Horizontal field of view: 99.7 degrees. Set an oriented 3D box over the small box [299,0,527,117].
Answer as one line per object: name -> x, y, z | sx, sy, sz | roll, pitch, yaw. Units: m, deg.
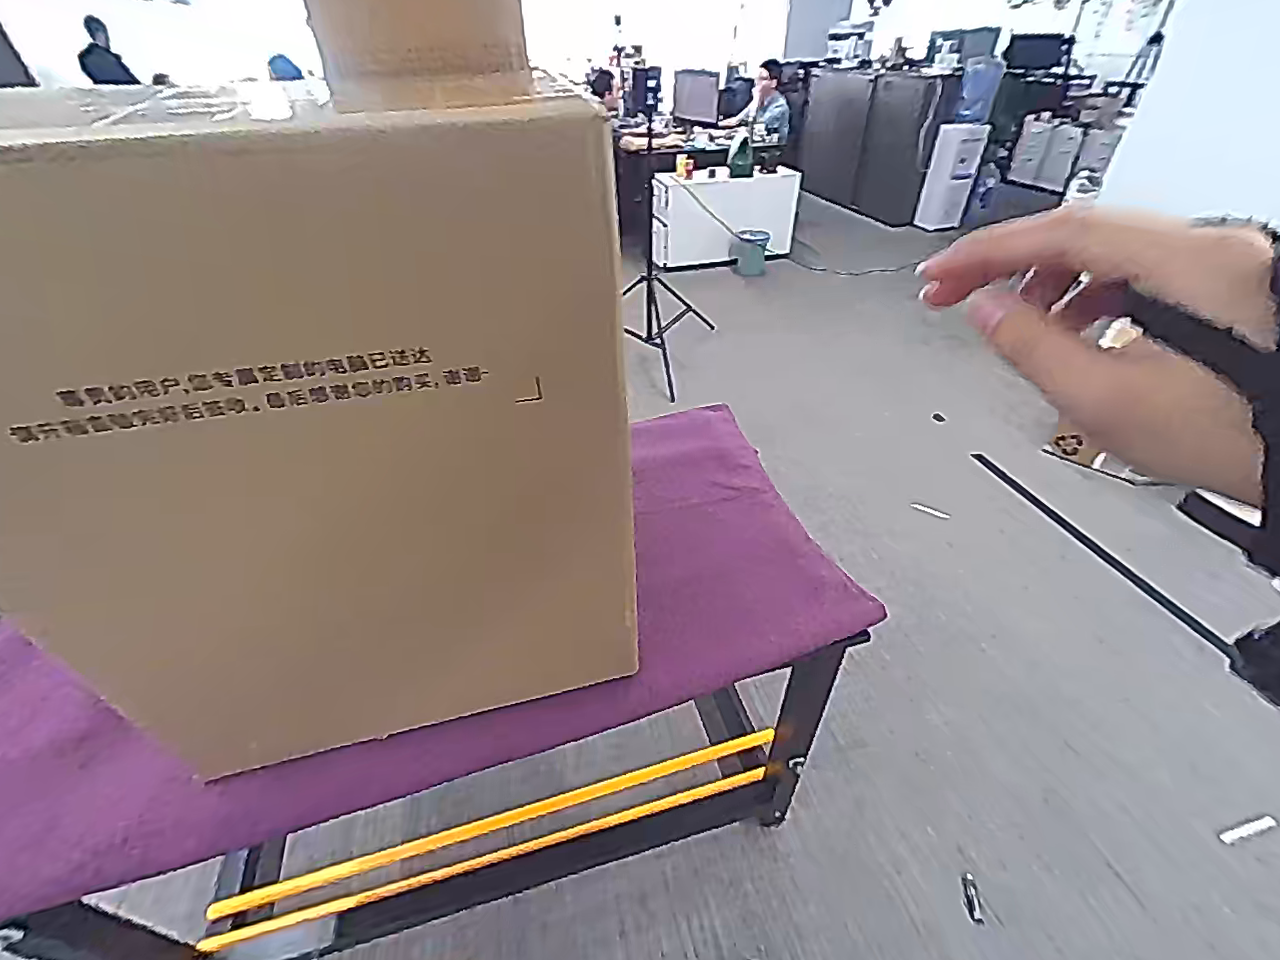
small box -> -0.206, -0.441, 0.486 | 0.179, 0.176, 0.168 | -15, 40, -14
